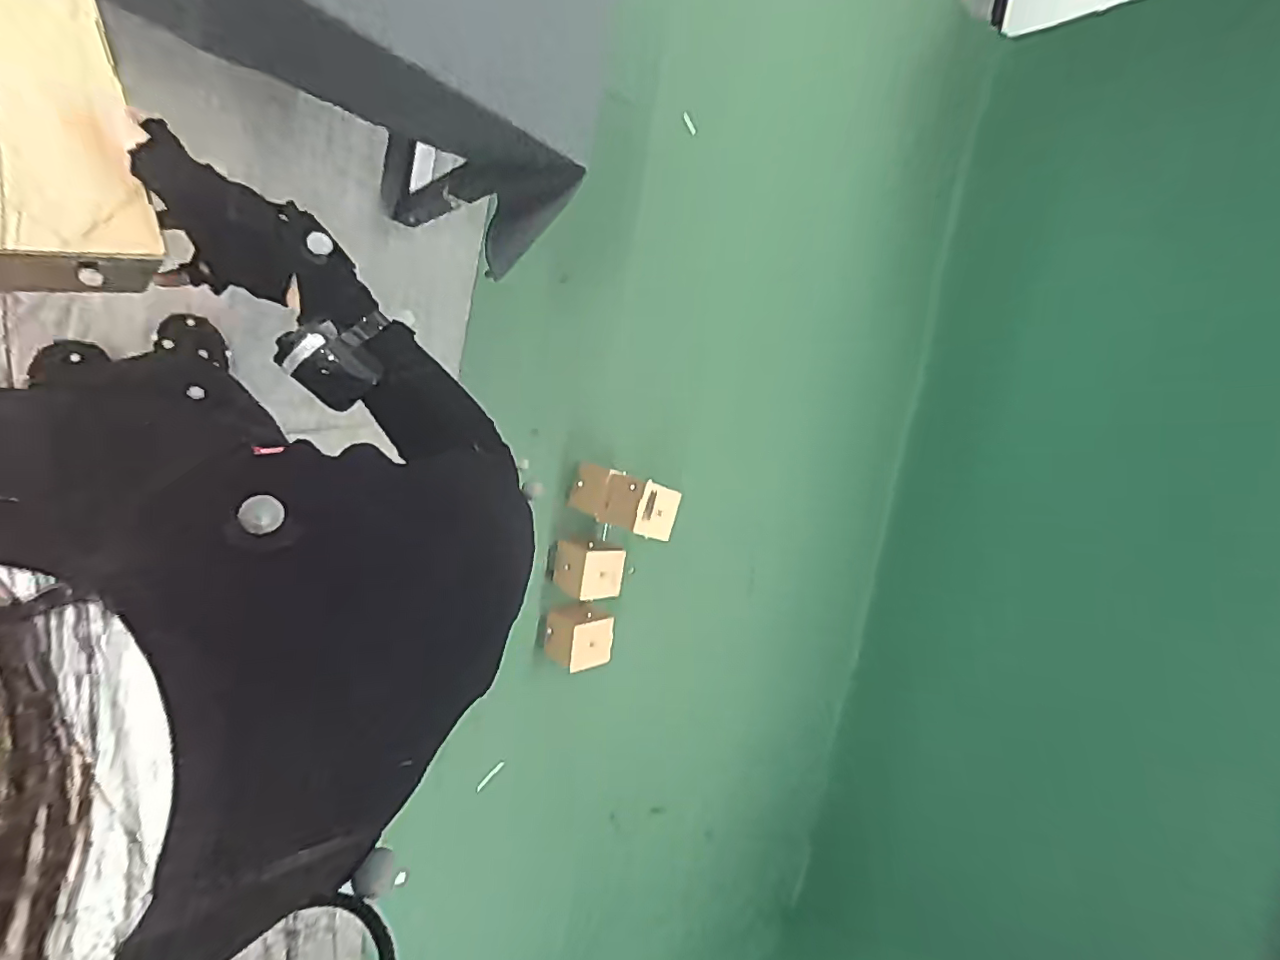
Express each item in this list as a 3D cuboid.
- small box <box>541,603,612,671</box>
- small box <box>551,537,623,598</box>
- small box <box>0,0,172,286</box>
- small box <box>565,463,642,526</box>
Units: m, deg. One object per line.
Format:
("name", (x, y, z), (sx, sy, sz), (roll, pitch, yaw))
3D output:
("small box", (-0.225, 0.543, 1.902), (0.179, 0.176, 0.168), (0, 100, -44))
("small box", (-0.188, 0.299, 1.876), (0.179, 0.176, 0.168), (4, 98, -45))
("small box", (-0.426, -0.213, 0.327), (0.179, 0.176, 0.168), (-21, 111, -43))
("small box", (-0.129, 0.048, 1.872), (0.179, 0.176, 0.168), (22, 84, -43))
